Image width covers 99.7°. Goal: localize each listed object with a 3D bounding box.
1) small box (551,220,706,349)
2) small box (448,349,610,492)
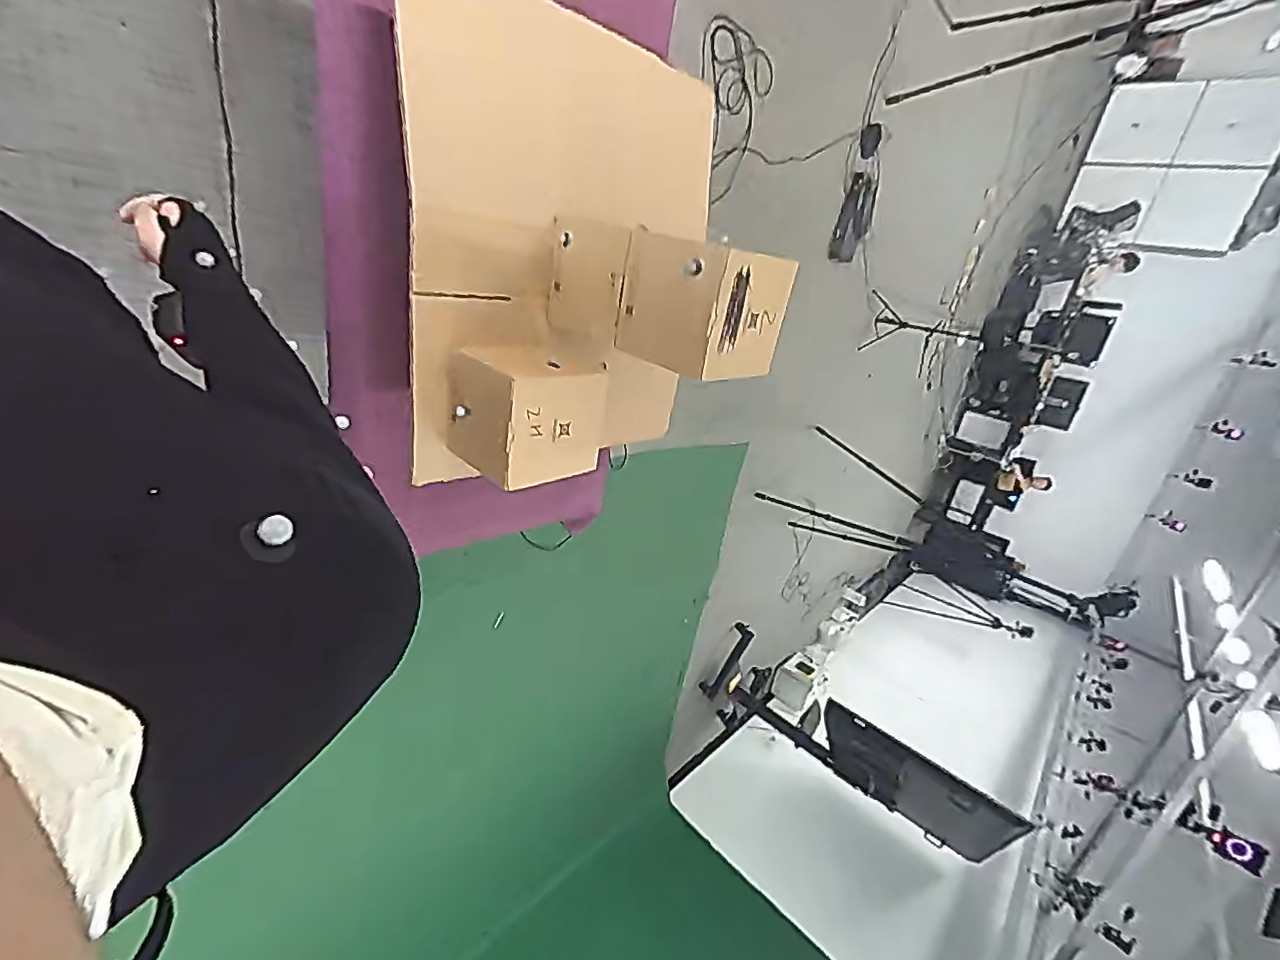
[{"bbox_3d":[-0.024,-0.314,0.875,0.179,0.176,0.168,-17,127,-45],"label":"small box"},{"bbox_3d":[-0.174,-0.103,0.838,0.179,0.176,0.168,-15,124,-44],"label":"small box"}]
